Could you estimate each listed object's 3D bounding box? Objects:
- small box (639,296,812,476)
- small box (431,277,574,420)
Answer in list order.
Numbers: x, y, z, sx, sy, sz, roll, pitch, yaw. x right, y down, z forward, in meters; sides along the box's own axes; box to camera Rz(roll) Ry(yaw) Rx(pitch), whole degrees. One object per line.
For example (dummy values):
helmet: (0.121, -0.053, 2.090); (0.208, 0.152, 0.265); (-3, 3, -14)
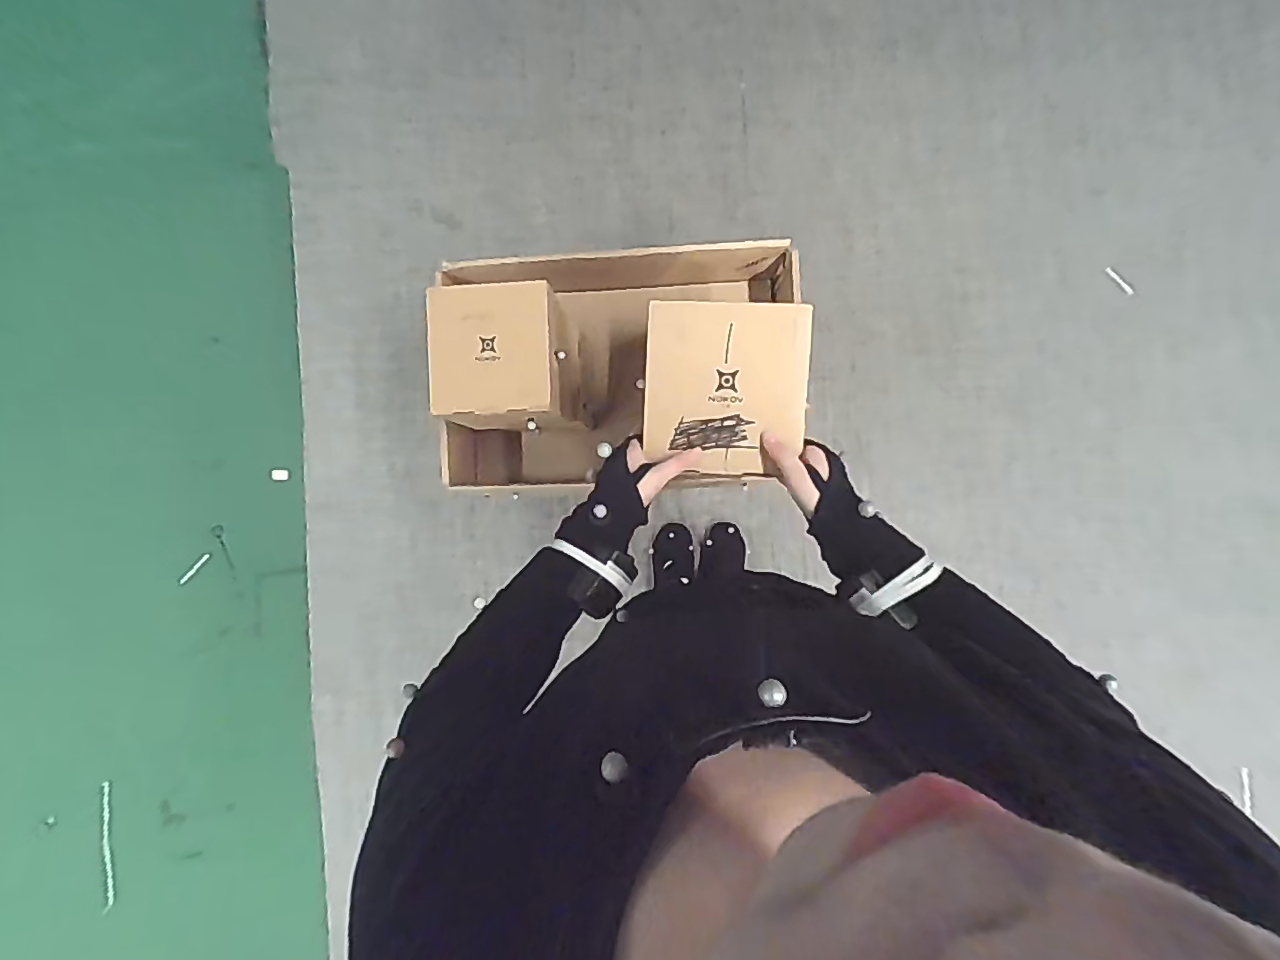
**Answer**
small box: (0.092, -0.103, 0.628); (0.168, 0.176, 0.179); (3, 96, 4)
small box: (-0.194, -0.182, 0.805); (0.168, 0.176, 0.179); (-1, 89, 4)
